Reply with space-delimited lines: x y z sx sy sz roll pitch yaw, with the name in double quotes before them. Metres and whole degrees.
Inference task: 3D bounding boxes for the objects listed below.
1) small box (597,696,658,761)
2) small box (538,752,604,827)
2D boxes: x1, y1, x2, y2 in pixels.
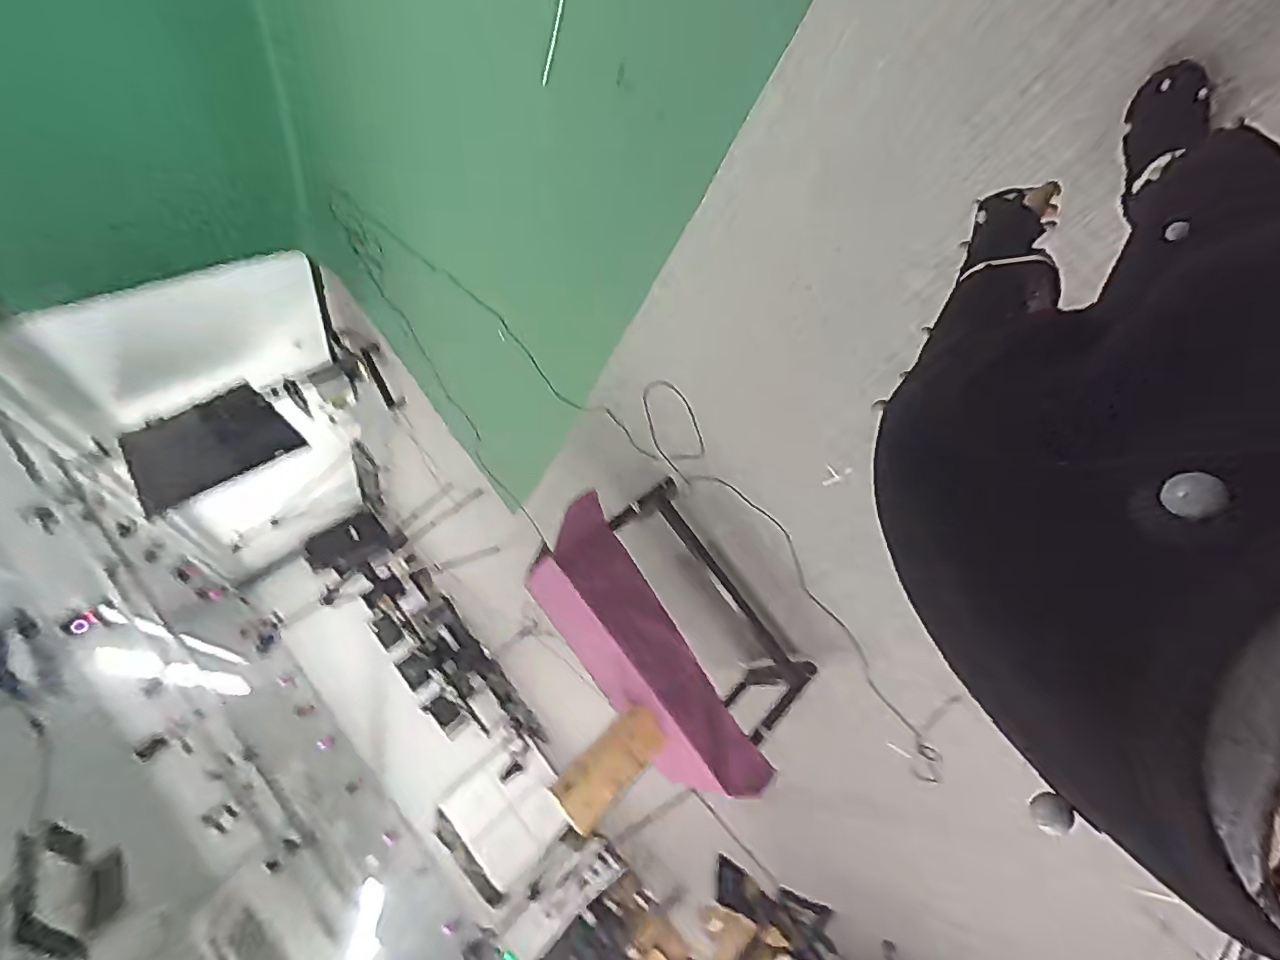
"small box" -0.051 1.088 2.377 0.179 0.176 0.168 60 148 -6
"small box" -0.282 1.262 2.219 0.168 0.176 0.179 -7 113 57
